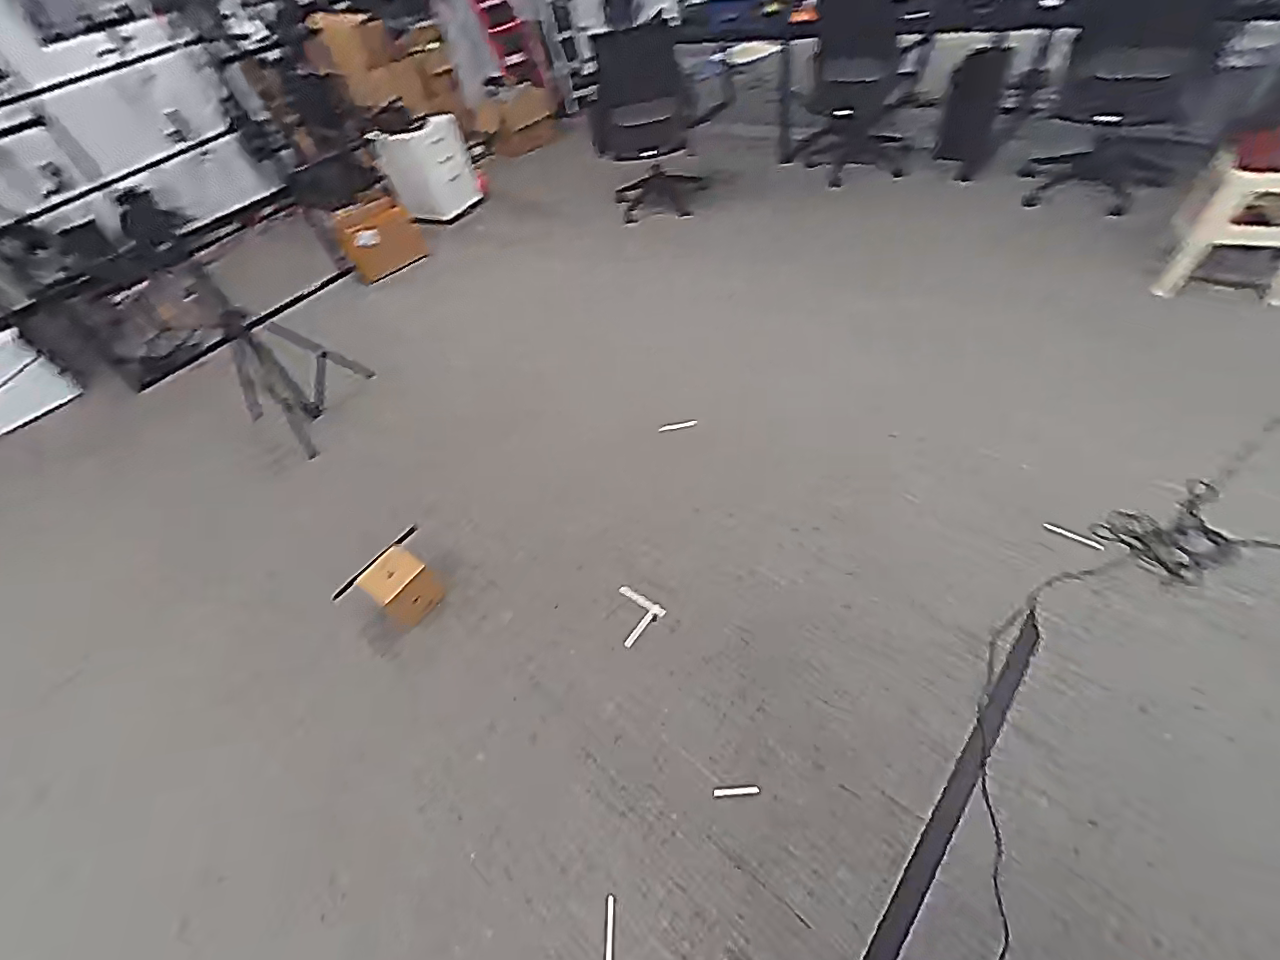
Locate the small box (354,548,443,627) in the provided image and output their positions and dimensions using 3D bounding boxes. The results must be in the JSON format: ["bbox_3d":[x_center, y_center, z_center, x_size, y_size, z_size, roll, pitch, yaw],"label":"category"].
[{"bbox_3d":[-0.790,0.360,1.787,0.179,0.176,0.168,23,57,30],"label":"small box"}]
